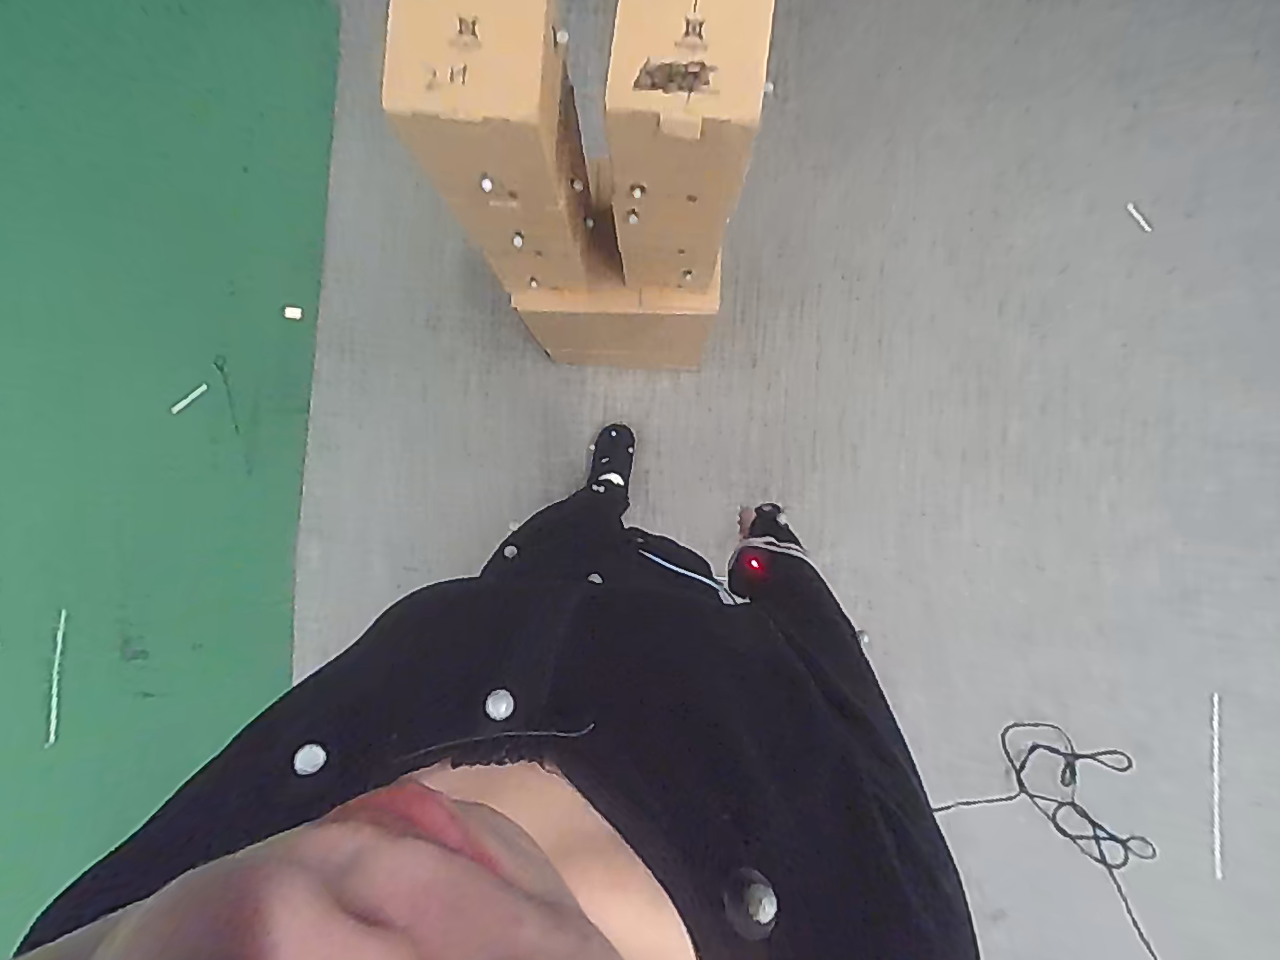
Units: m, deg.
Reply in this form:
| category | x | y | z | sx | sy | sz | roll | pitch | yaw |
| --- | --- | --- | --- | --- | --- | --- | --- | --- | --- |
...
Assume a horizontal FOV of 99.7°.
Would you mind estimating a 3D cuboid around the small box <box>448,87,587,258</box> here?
| category | x | y | z | sx | sy | sz | roll | pitch | yaw |
| --- | --- | --- | --- | --- | --- | --- | --- | --- | --- |
| small box | -0.174 | -0.454 | 0.816 | 0.168 | 0.176 | 0.179 | 4 | 90 | 0 |

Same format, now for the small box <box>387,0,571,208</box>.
| category | x | y | z | sx | sy | sz | roll | pitch | yaw |
| --- | --- | --- | --- | --- | --- | --- | --- | --- | --- |
| small box | -0.179 | -0.461 | 0.651 | 0.168 | 0.176 | 0.179 | 4 | 89 | 1 |

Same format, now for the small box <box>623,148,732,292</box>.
| category | x | y | z | sx | sy | sz | roll | pitch | yaw |
| --- | --- | --- | --- | --- | --- | --- | --- | --- | --- |
| small box | 0.065 | -0.456 | 0.974 | 0.168 | 0.176 | 0.179 | 6 | 88 | 2 |

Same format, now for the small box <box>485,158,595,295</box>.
| category | x | y | z | sx | sy | sz | roll | pitch | yaw |
| --- | --- | --- | --- | --- | --- | --- | --- | --- | --- |
| small box | -0.172 | -0.456 | 0.980 | 0.168 | 0.176 | 0.179 | 3 | 89 | 0 |
